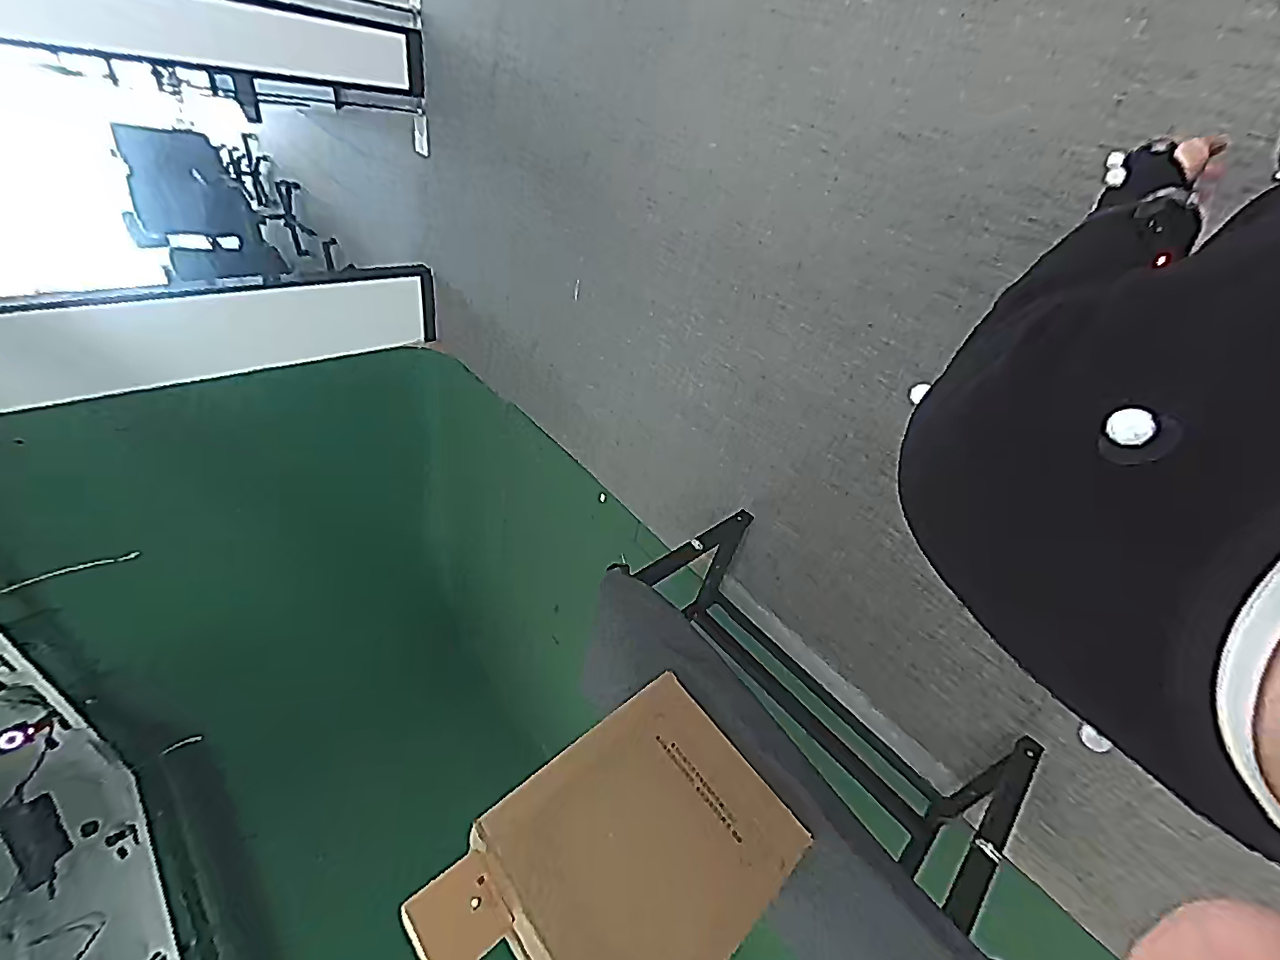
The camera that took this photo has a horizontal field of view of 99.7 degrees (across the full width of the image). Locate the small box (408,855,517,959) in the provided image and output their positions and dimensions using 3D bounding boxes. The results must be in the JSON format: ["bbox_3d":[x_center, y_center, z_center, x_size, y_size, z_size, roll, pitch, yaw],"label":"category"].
[{"bbox_3d":[-0.383,0.962,1.167,0.168,0.176,0.179,45,135,27],"label":"small box"}]
